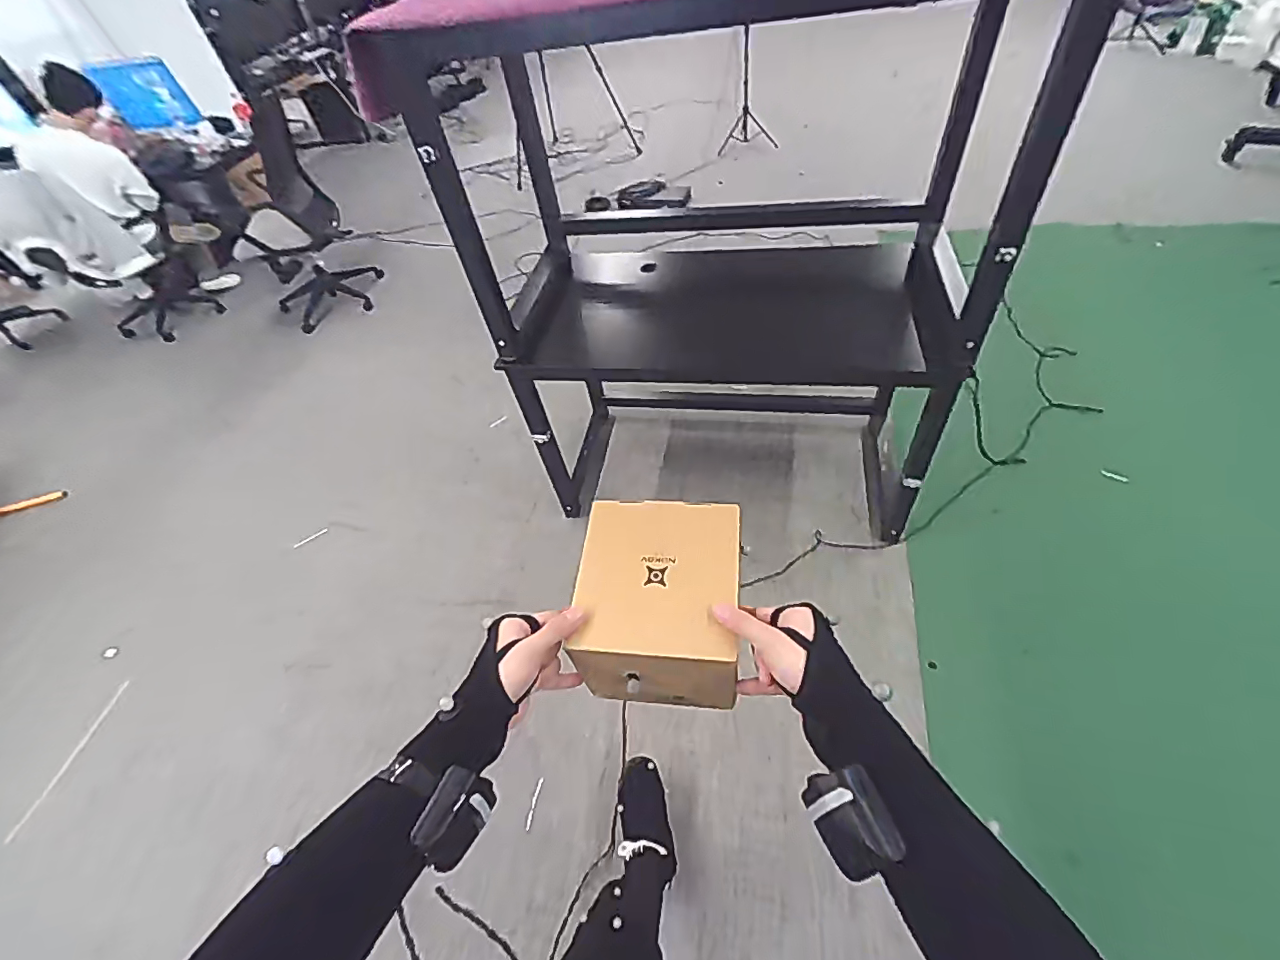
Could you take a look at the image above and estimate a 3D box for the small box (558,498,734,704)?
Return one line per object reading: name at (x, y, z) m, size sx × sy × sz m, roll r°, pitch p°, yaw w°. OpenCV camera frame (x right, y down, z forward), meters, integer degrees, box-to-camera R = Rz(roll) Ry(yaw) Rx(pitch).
small box at (0.021, 0.138, 0.608) m, size 0.168 × 0.176 × 0.179 m, roll 0°, pitch 52°, yaw 9°
